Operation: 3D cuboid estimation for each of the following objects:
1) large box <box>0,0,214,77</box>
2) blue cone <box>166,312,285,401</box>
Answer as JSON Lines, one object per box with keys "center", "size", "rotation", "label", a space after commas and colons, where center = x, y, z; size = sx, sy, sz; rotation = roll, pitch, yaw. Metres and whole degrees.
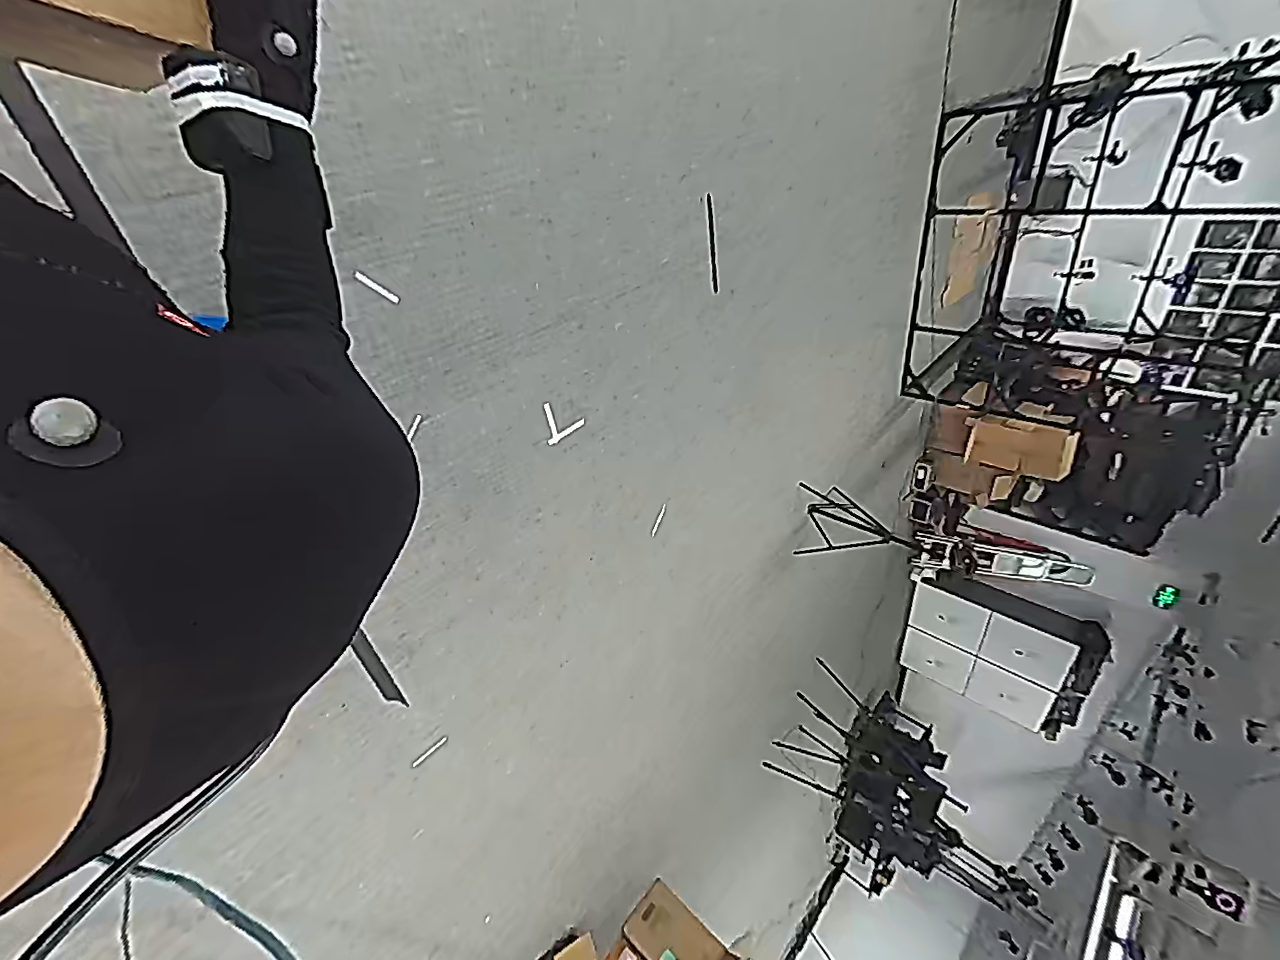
{"center": [-0.531, -0.476, 0.284], "size": [0.408, 0.320, 0.320], "rotation": [-15, 121, -47], "label": "large box"}
{"center": [-0.799, -0.224, 1.101], "size": [0.193, 0.380, 0.192], "rotation": [-13, 117, -46], "label": "blue cone"}
